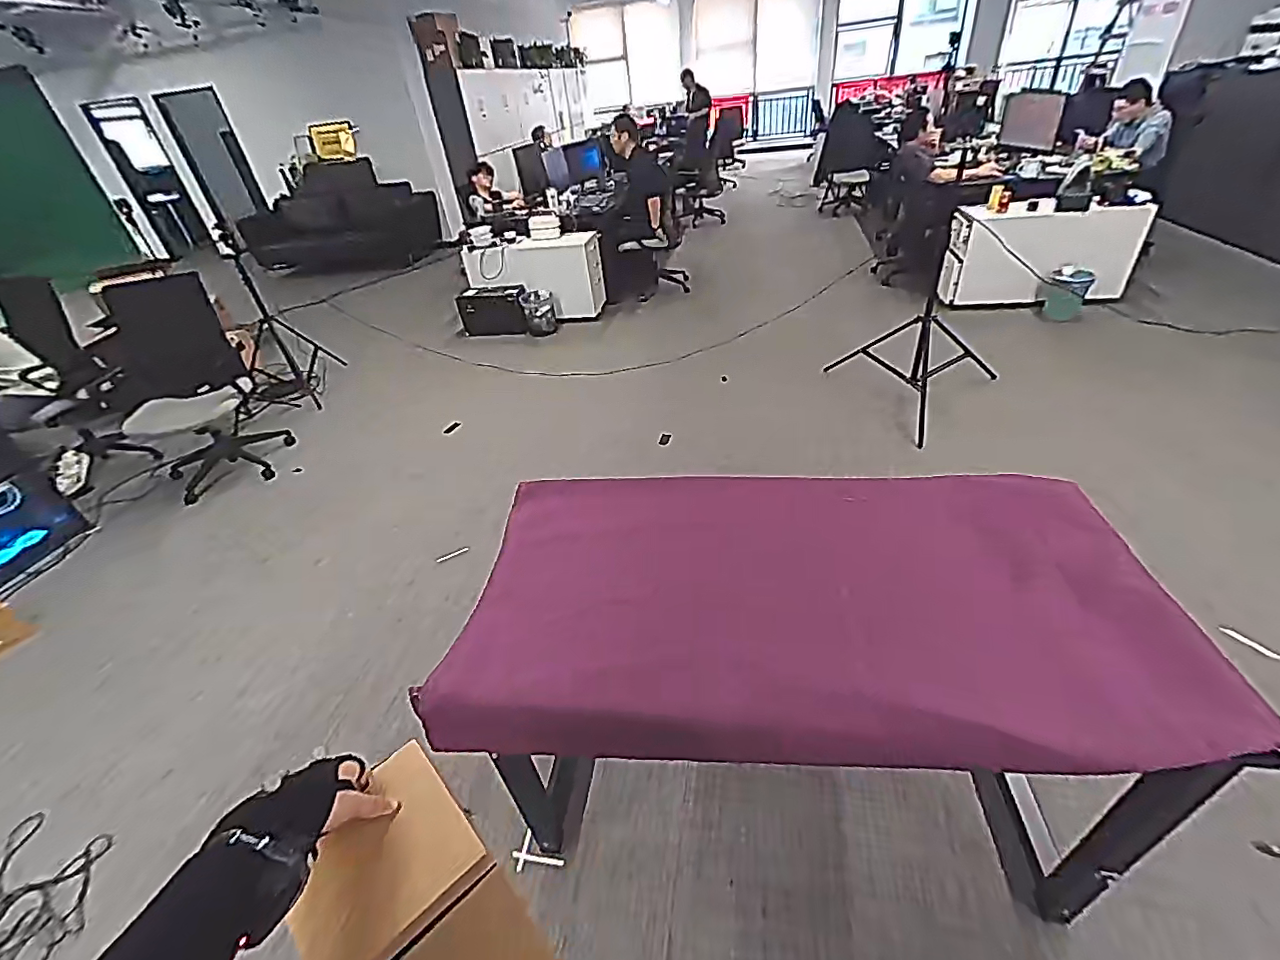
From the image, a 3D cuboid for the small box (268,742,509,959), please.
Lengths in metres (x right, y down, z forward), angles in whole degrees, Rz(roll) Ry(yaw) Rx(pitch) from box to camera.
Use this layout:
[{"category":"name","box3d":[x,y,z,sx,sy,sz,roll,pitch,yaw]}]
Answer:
[{"category":"small box","box3d":[-0.265,0.442,0.601,0.168,0.176,0.179,-31,52,-33]}]
